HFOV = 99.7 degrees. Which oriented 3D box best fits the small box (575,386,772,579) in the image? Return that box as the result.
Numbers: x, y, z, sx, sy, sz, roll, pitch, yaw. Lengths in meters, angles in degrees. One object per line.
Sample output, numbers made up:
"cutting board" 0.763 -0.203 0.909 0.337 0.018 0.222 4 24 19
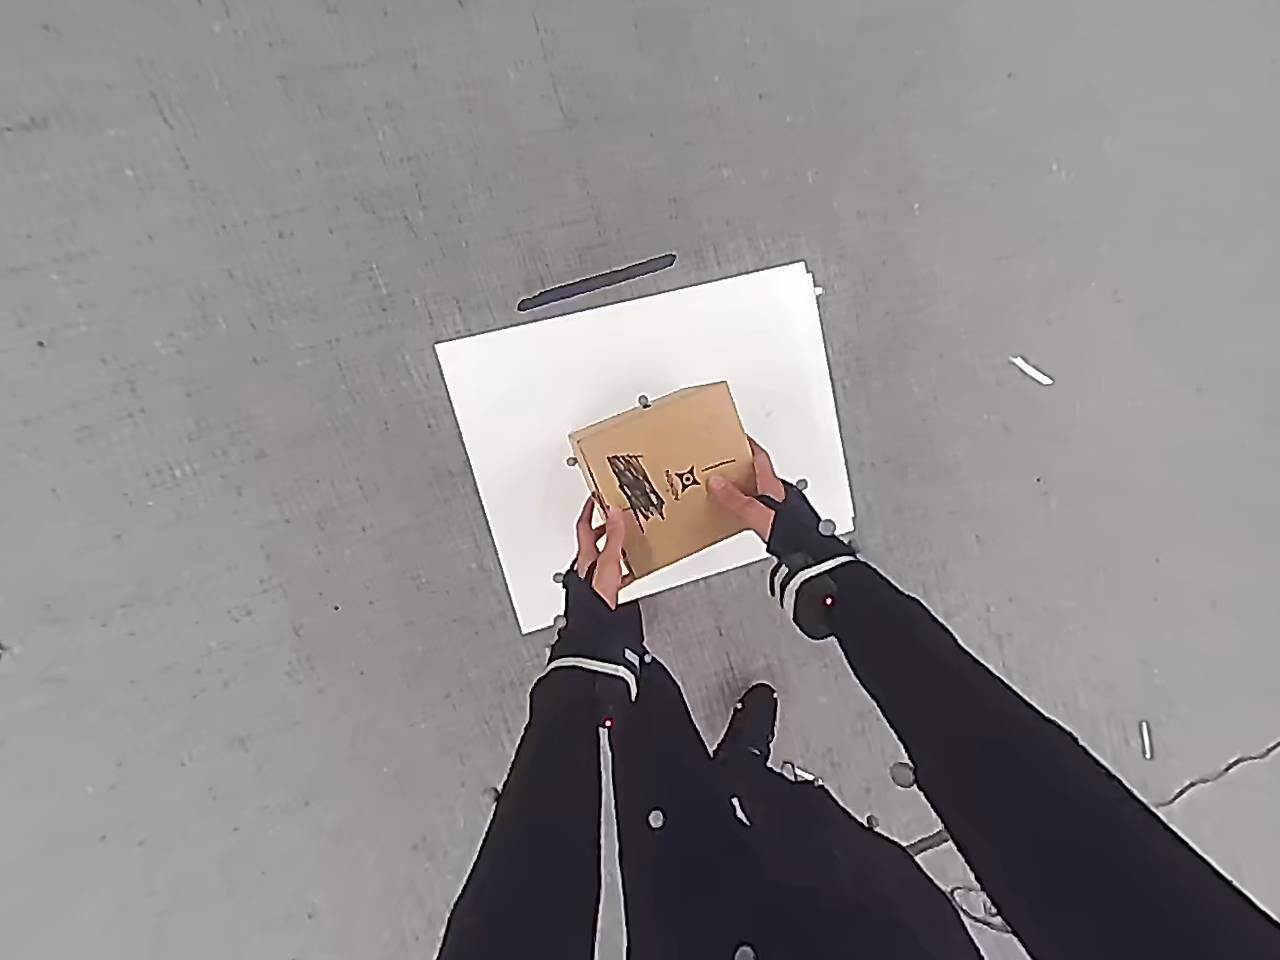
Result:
"small box" 0.028 -0.004 0.664 0.179 0.176 0.168 -23 101 -9
